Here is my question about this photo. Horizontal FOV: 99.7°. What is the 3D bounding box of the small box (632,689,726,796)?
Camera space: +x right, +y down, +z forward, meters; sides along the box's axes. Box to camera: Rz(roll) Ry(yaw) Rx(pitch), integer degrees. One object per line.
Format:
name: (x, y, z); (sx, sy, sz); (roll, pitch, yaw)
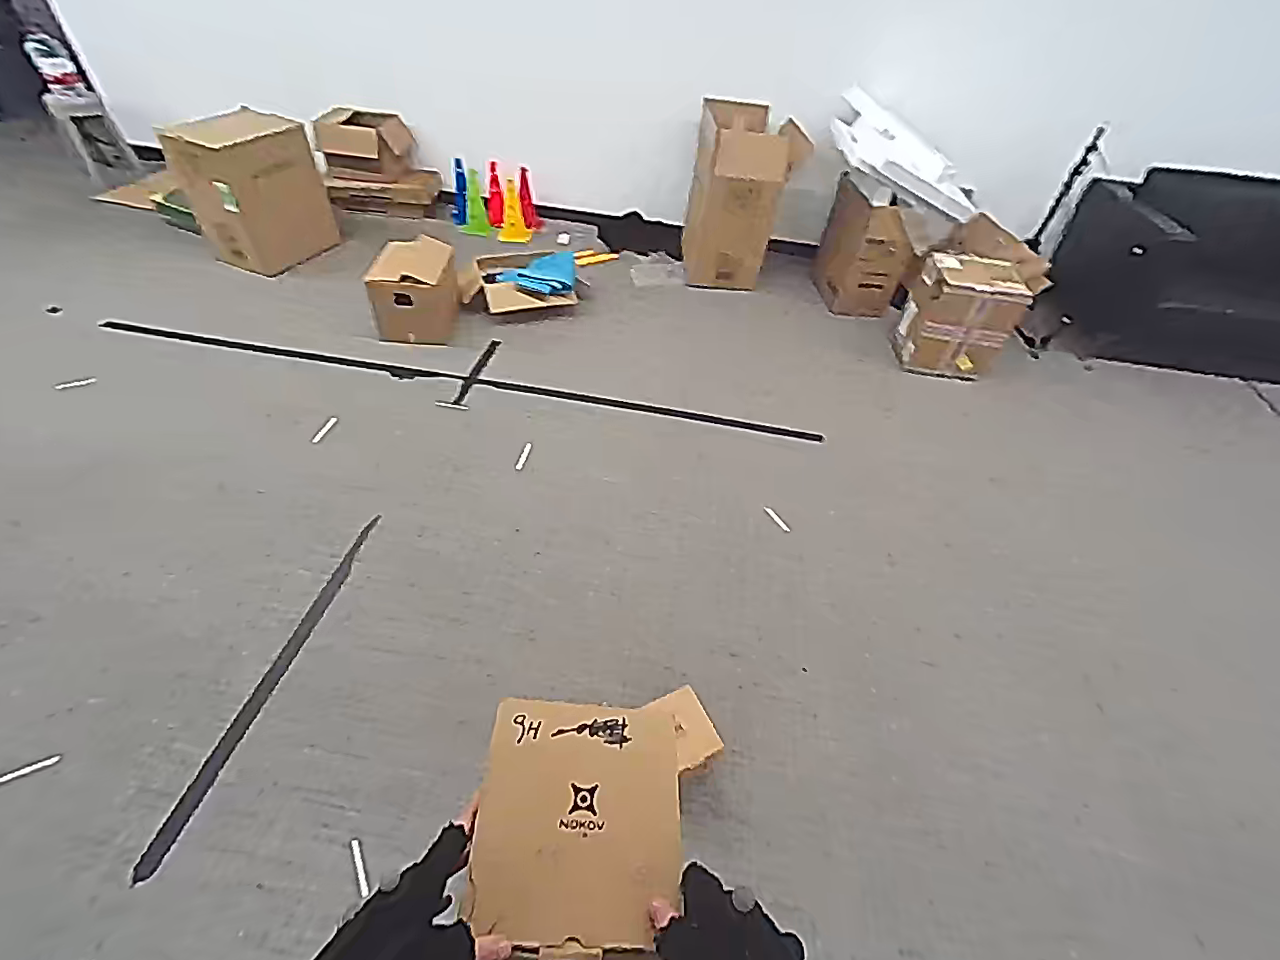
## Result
small box: (0.092, 0.674, 1.376); (0.168, 0.176, 0.179); (-17, 49, -23)
